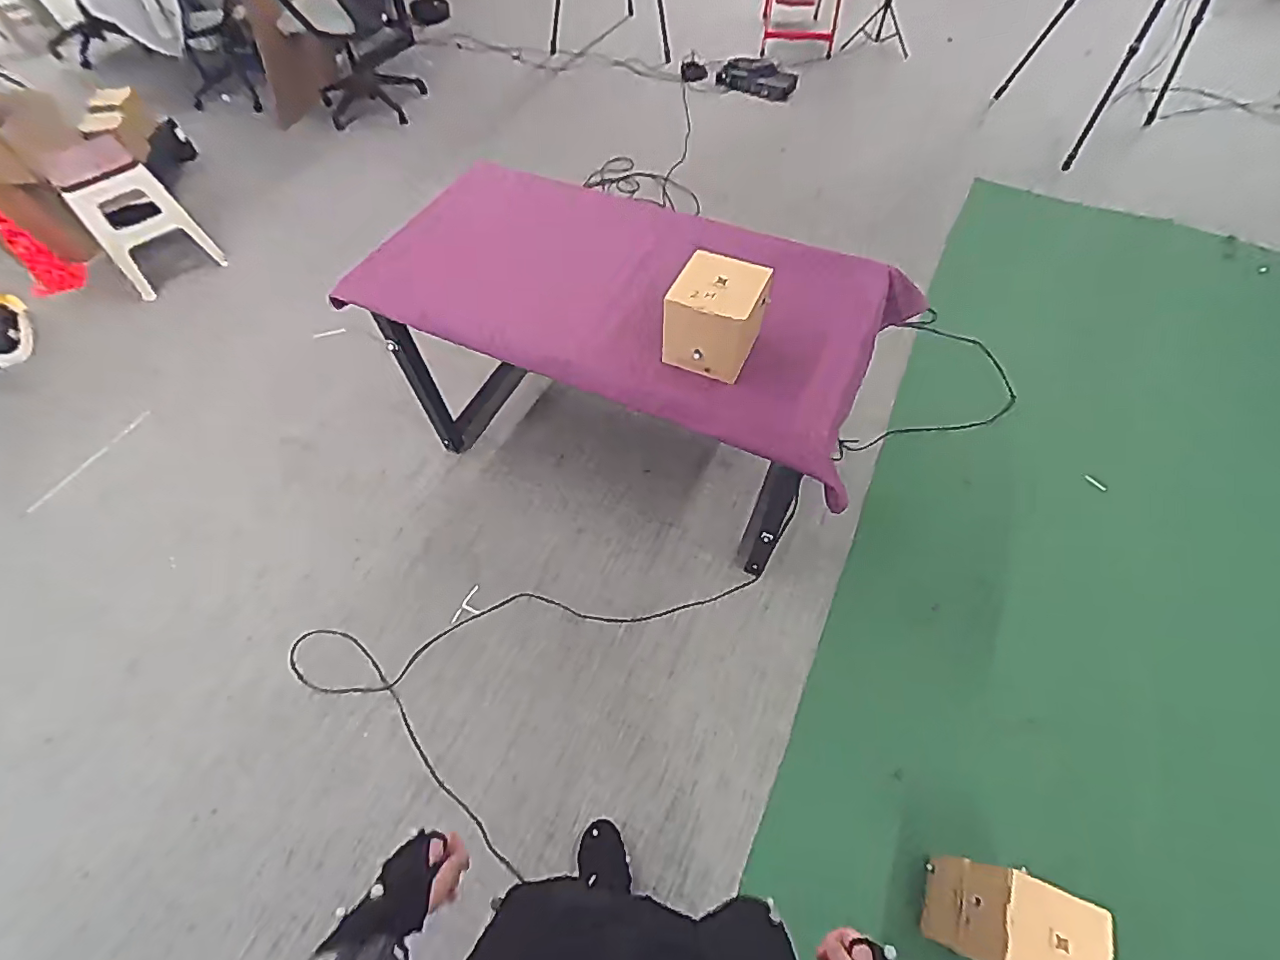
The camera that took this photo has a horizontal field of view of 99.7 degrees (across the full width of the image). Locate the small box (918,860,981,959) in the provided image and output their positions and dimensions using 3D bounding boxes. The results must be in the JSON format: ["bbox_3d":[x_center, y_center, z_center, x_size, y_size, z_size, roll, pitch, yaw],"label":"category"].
[{"bbox_3d":[0.731,0.954,1.171,0.179,0.176,0.168,21,60,12],"label":"small box"}]

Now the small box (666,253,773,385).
[{"bbox_3d":[0.157,-0.332,1.125,0.168,0.176,0.179,22,59,14],"label":"small box"}]

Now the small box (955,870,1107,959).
[{"bbox_3d":[0.737,0.873,1.030,0.179,0.176,0.168,20,60,13],"label":"small box"}]
